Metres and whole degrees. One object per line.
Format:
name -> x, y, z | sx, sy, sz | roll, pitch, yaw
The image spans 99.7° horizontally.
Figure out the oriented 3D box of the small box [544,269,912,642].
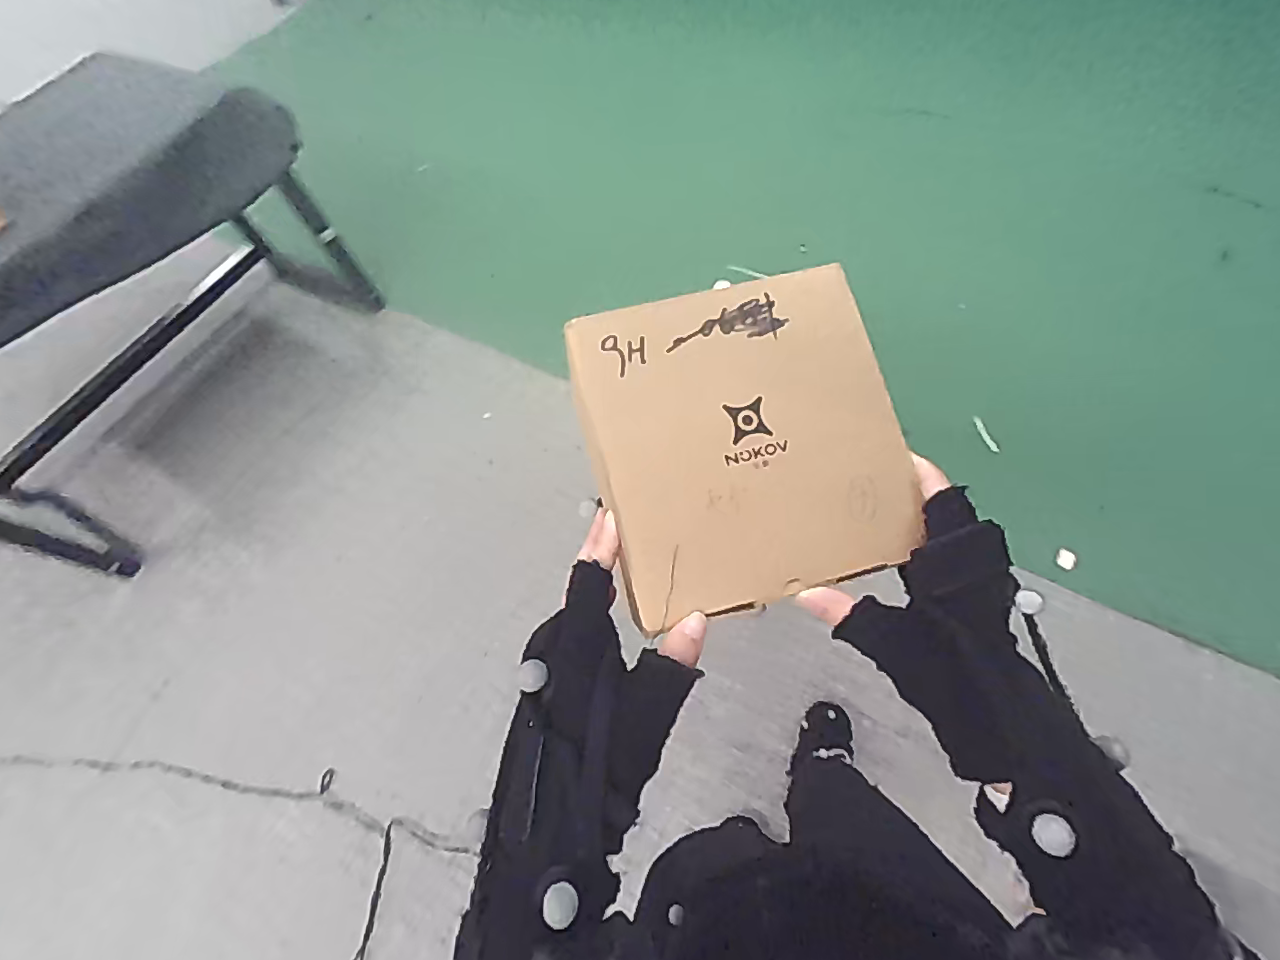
small box -> 0.043, -0.008, 0.375 | 0.168, 0.176, 0.179 | -17, 82, -7
